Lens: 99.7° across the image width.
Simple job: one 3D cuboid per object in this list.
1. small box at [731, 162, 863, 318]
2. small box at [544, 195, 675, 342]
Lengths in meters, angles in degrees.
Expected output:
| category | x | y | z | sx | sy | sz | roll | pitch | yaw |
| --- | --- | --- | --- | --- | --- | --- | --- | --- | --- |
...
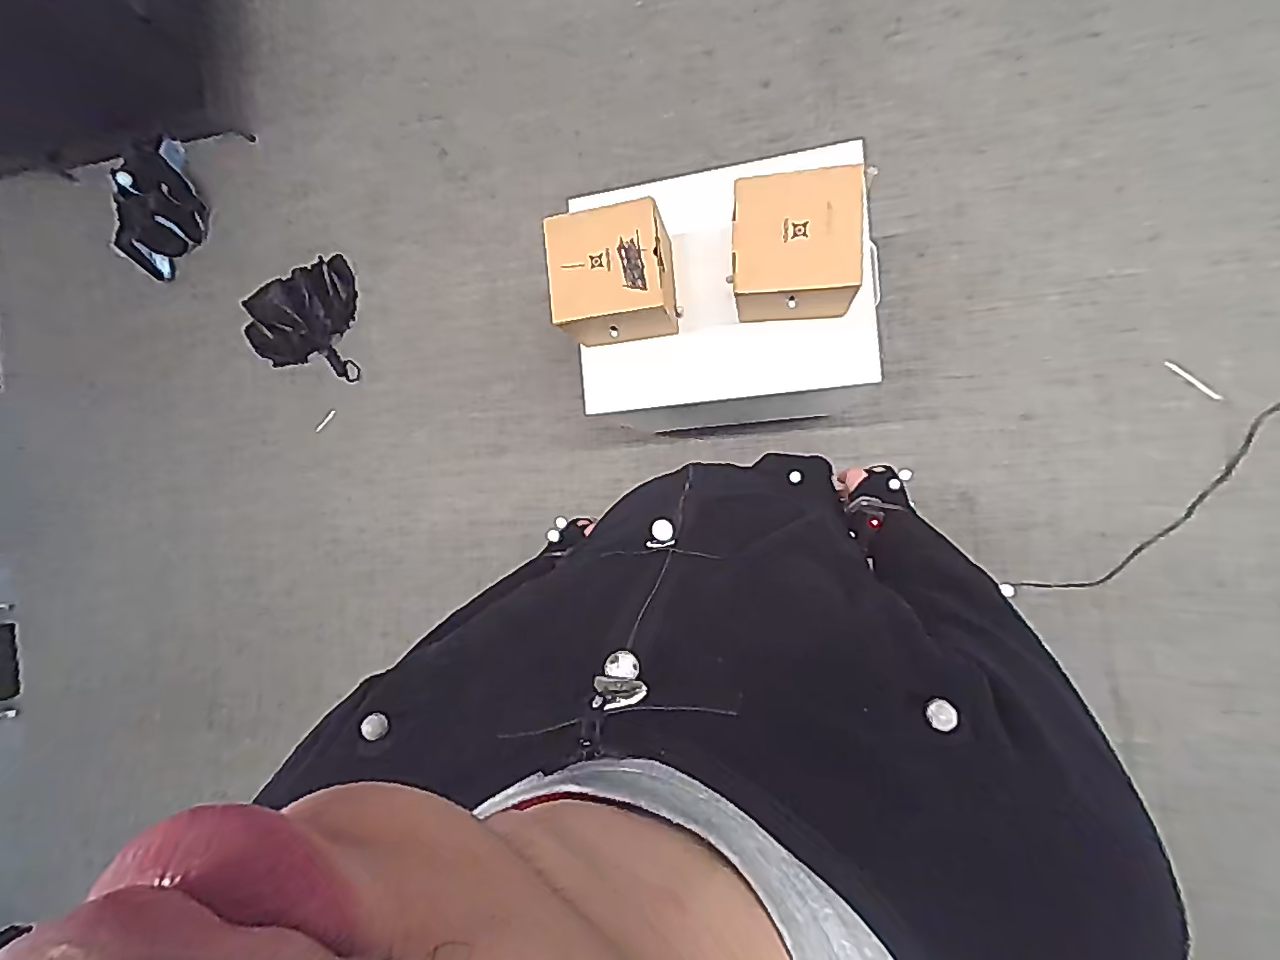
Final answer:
| category | x | y | z | sx | sy | sz | roll | pitch | yaw |
| --- | --- | --- | --- | --- | --- | --- | --- | --- | --- |
| small box | 0.234 | -0.352 | 0.828 | 0.179 | 0.176 | 0.168 | 0 | 93 | 13 |
| small box | -0.040 | -0.333 | 0.888 | 0.179 | 0.176 | 0.168 | -5 | 90 | 13 |
